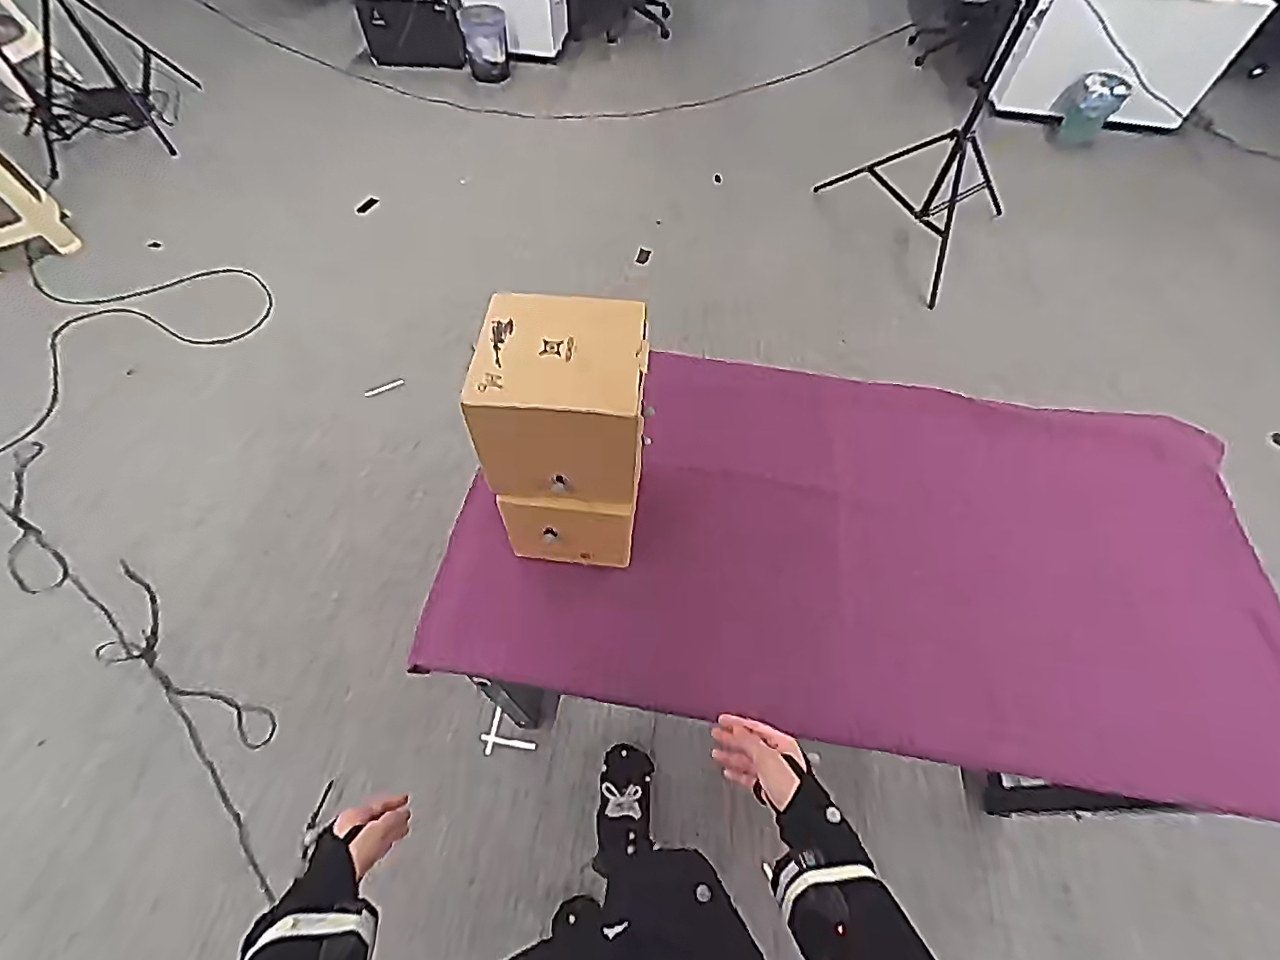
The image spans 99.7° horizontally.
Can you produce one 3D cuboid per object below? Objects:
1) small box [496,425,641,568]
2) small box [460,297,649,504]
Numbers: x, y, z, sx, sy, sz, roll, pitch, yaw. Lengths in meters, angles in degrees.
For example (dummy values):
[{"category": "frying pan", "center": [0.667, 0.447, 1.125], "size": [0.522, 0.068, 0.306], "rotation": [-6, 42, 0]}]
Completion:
[{"category": "small box", "center": [-0.088, 0.010, 0.763], "size": [0.168, 0.176, 0.179], "rotation": [6, 57, 1]}, {"category": "small box", "center": [-0.086, -0.085, 0.630], "size": [0.179, 0.176, 0.168], "rotation": [5, 57, 0]}]
